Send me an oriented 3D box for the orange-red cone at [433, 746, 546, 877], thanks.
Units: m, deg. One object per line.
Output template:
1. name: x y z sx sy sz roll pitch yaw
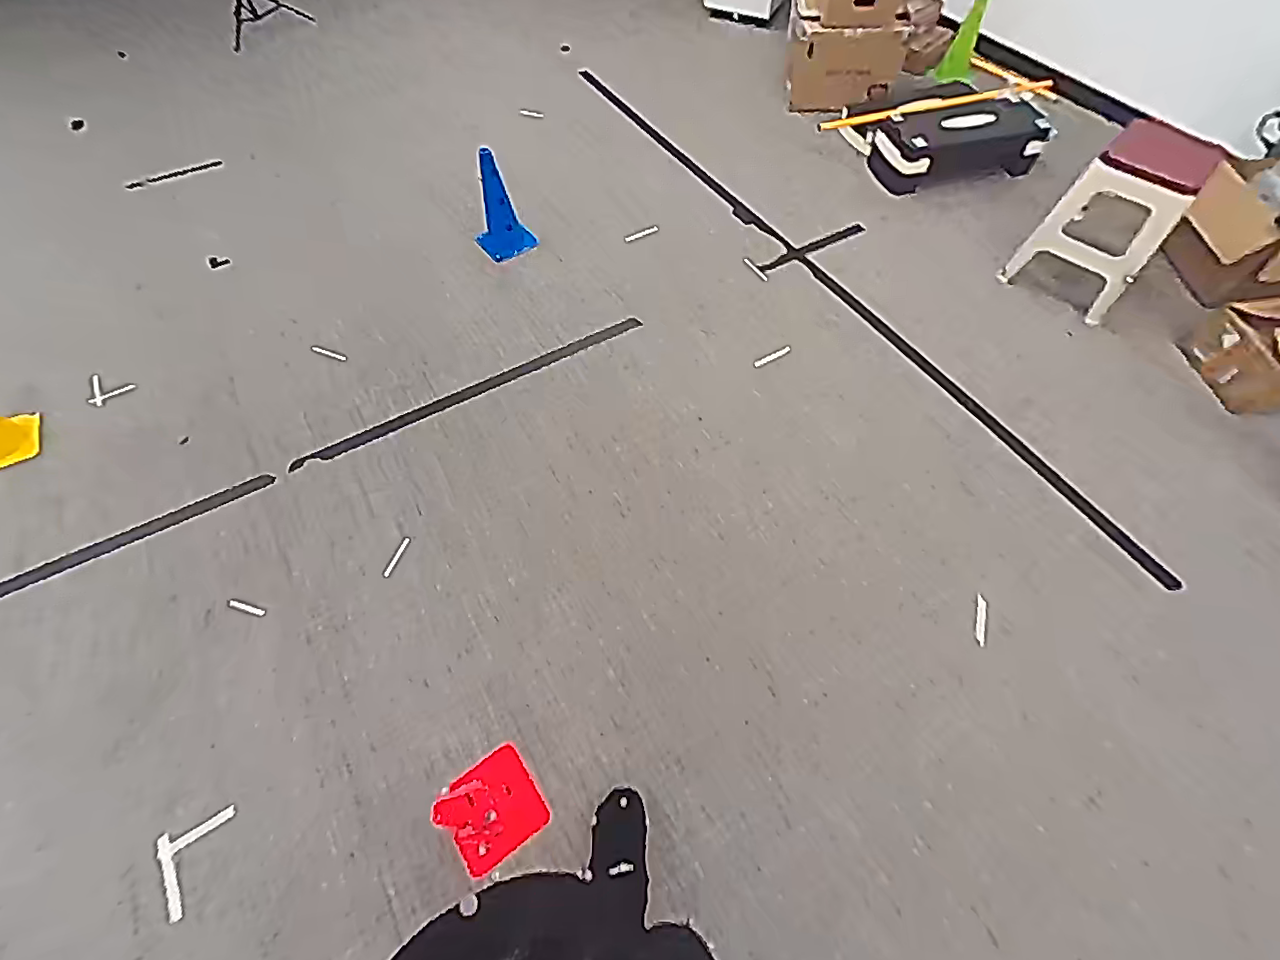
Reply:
1. orange-red cone: -0.329 0.641 1.053 0.199 0.360 0.198 -30 65 -18

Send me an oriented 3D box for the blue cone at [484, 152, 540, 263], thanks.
1. blue cone: -0.520 -1.040 2.038 0.193 0.380 0.192 -32 65 -17
